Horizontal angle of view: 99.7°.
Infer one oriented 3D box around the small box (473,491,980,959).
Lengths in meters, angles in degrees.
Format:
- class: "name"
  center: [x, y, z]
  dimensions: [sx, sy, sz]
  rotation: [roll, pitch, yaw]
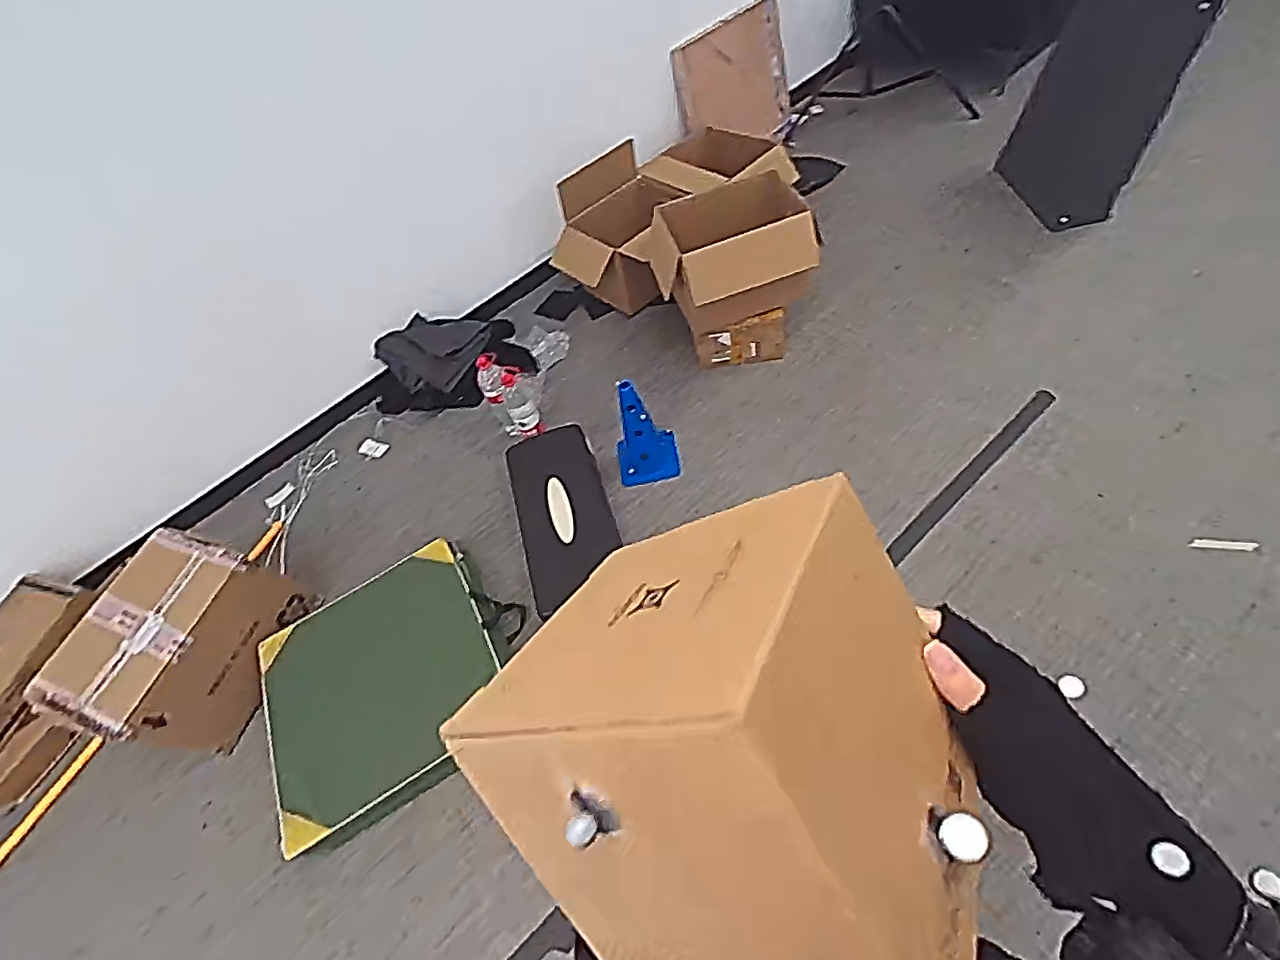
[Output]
- class: "small box"
  center: [0.053, 0.135, 0.294]
  dimensions: [0.179, 0.176, 0.168]
  rotation: [-24, 11, 38]
